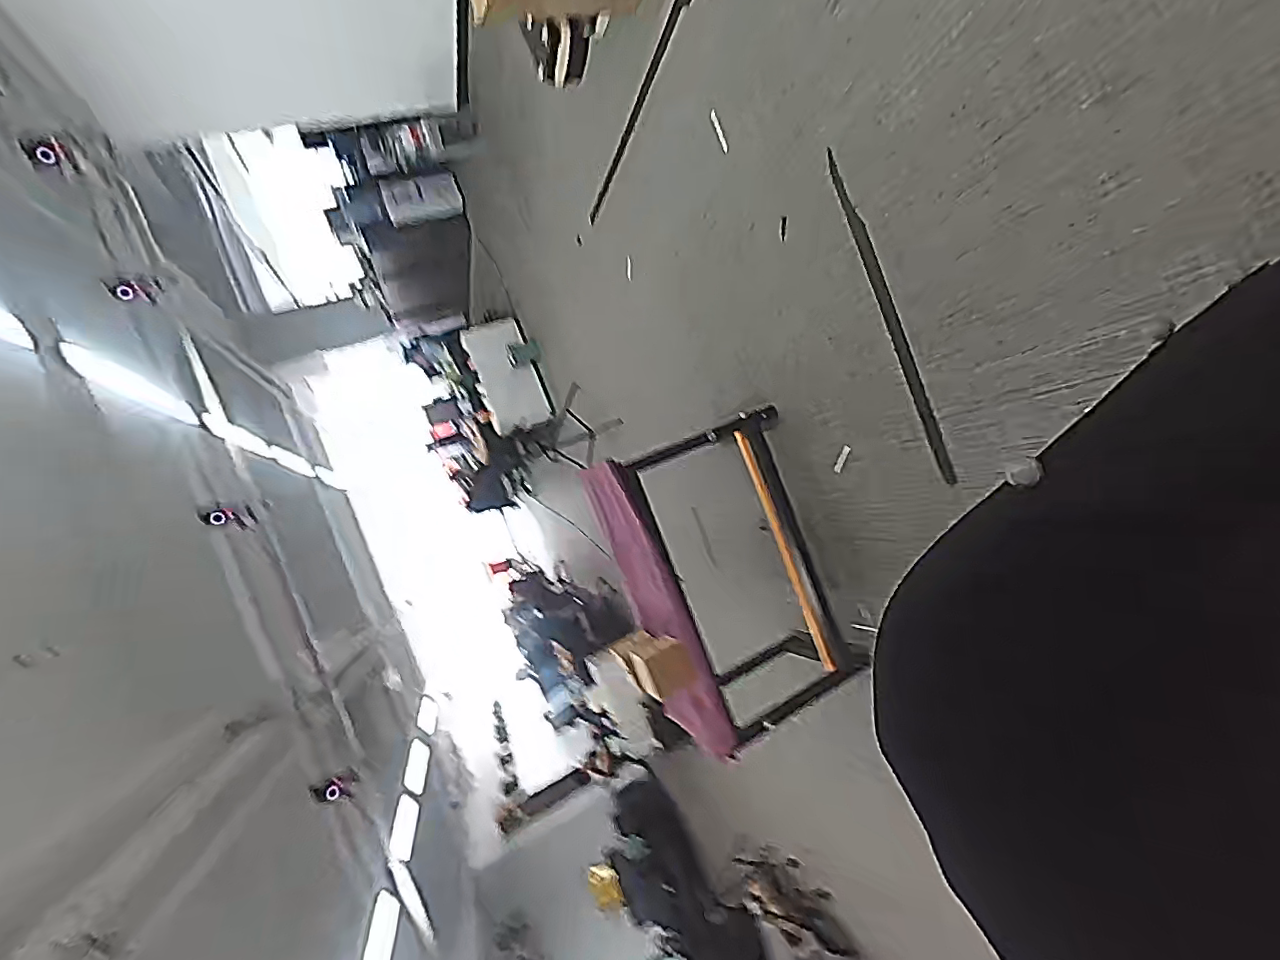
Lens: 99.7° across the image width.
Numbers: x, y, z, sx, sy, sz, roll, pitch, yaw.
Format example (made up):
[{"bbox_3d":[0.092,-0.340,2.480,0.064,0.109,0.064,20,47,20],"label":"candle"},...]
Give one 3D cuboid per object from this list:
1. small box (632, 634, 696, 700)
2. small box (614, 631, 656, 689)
[{"bbox_3d":[0.094,0.731,2.137,0.179,0.176,0.168,68,161,0],"label":"small box"},{"bbox_3d":[0.006,0.786,2.392,0.179,0.168,0.176,63,163,-6],"label":"small box"}]
